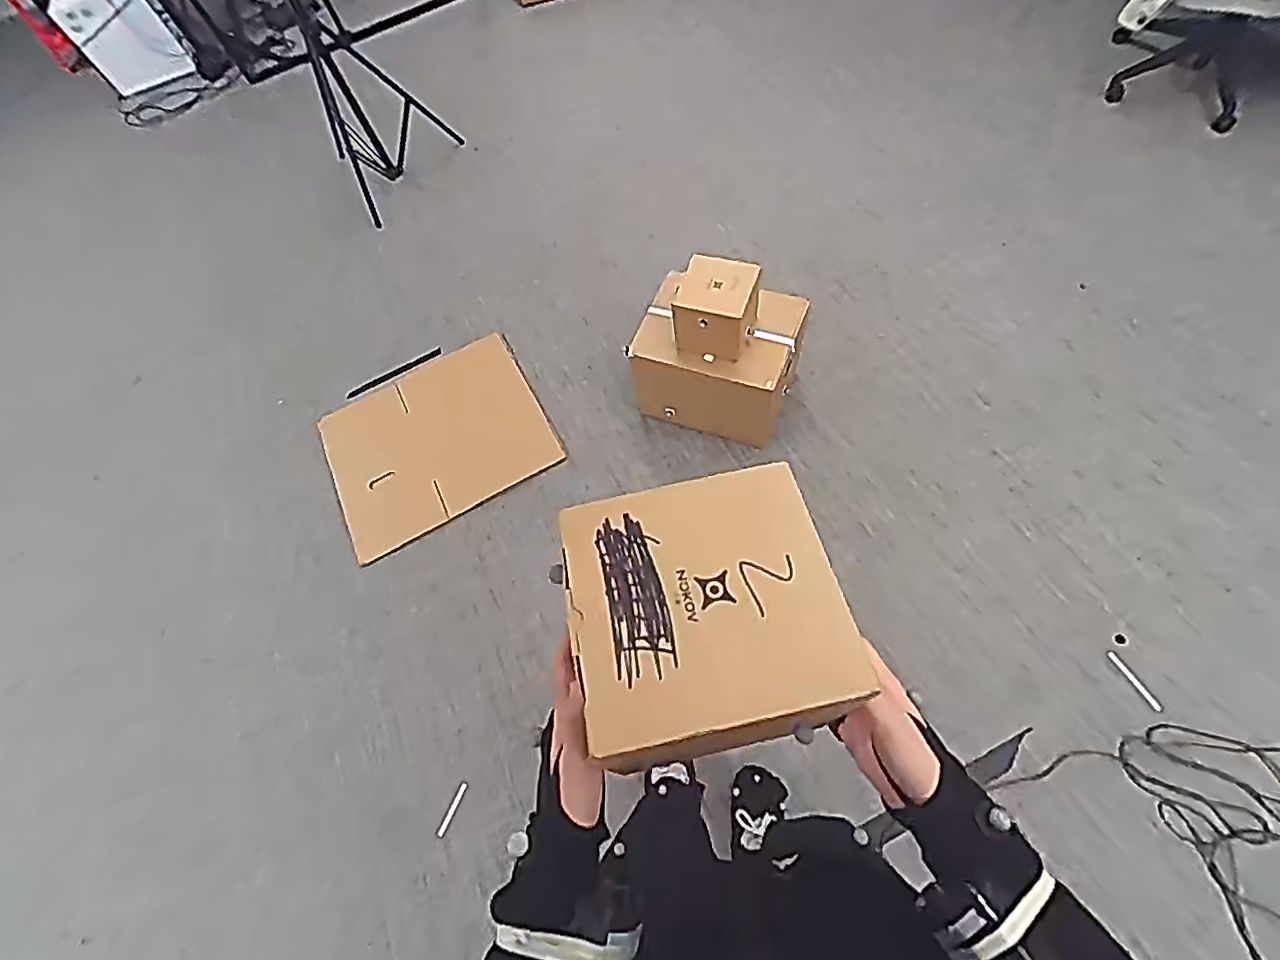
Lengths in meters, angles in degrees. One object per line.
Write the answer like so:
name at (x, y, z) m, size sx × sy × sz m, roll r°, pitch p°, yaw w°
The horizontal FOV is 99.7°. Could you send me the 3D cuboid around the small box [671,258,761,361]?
small box at (0.192, -0.422, 1.357) m, size 0.179 × 0.176 × 0.168 m, roll 17°, pitch 70°, yaw 15°
